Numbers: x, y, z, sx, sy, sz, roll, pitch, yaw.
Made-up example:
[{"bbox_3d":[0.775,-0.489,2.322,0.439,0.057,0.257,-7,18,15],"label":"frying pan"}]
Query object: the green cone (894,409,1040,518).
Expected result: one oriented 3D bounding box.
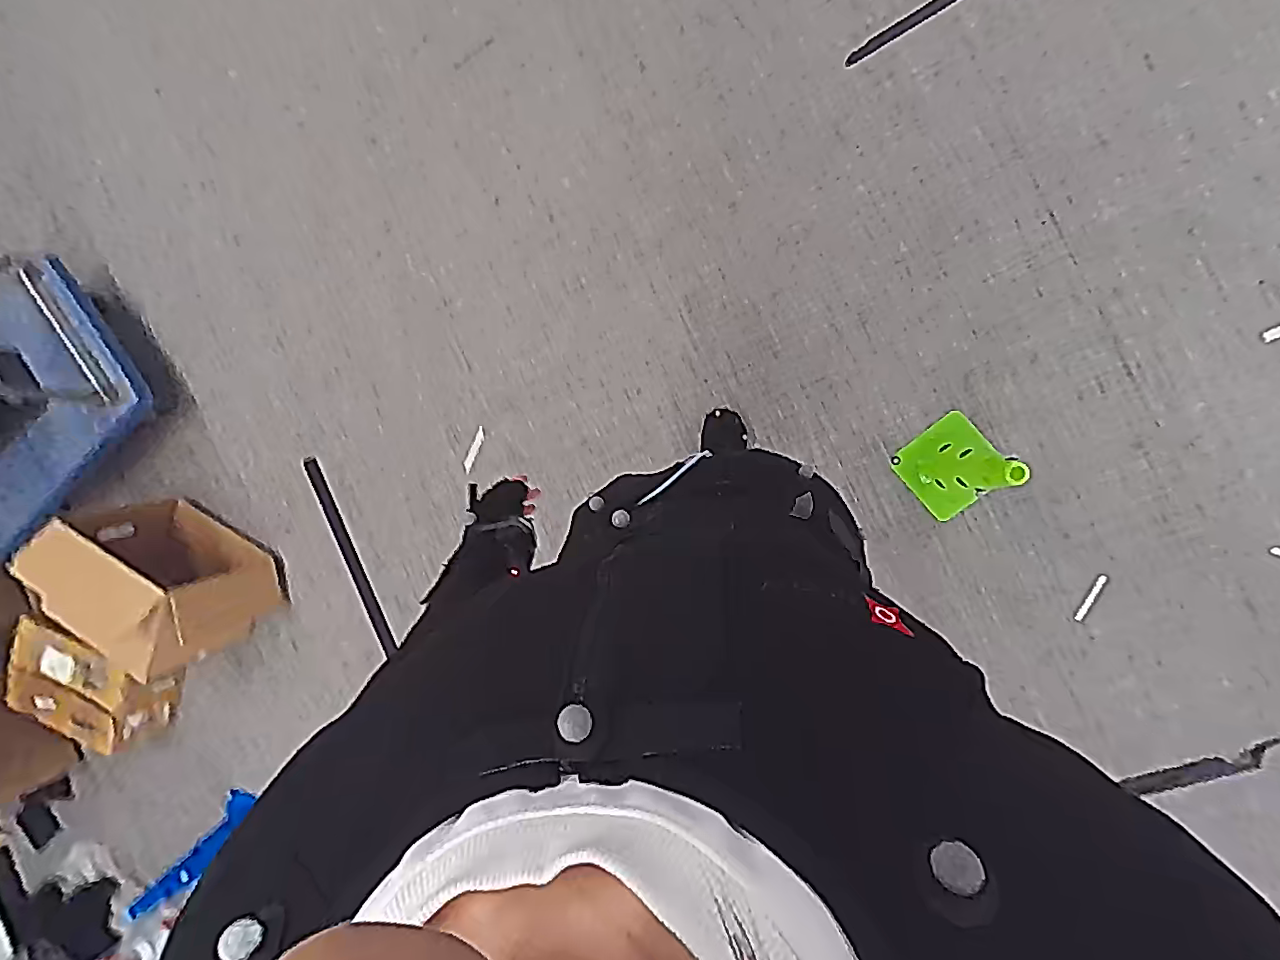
[{"bbox_3d":[0.703,-0.028,1.108,0.202,0.368,0.200,-41,85,11],"label":"green cone"}]
